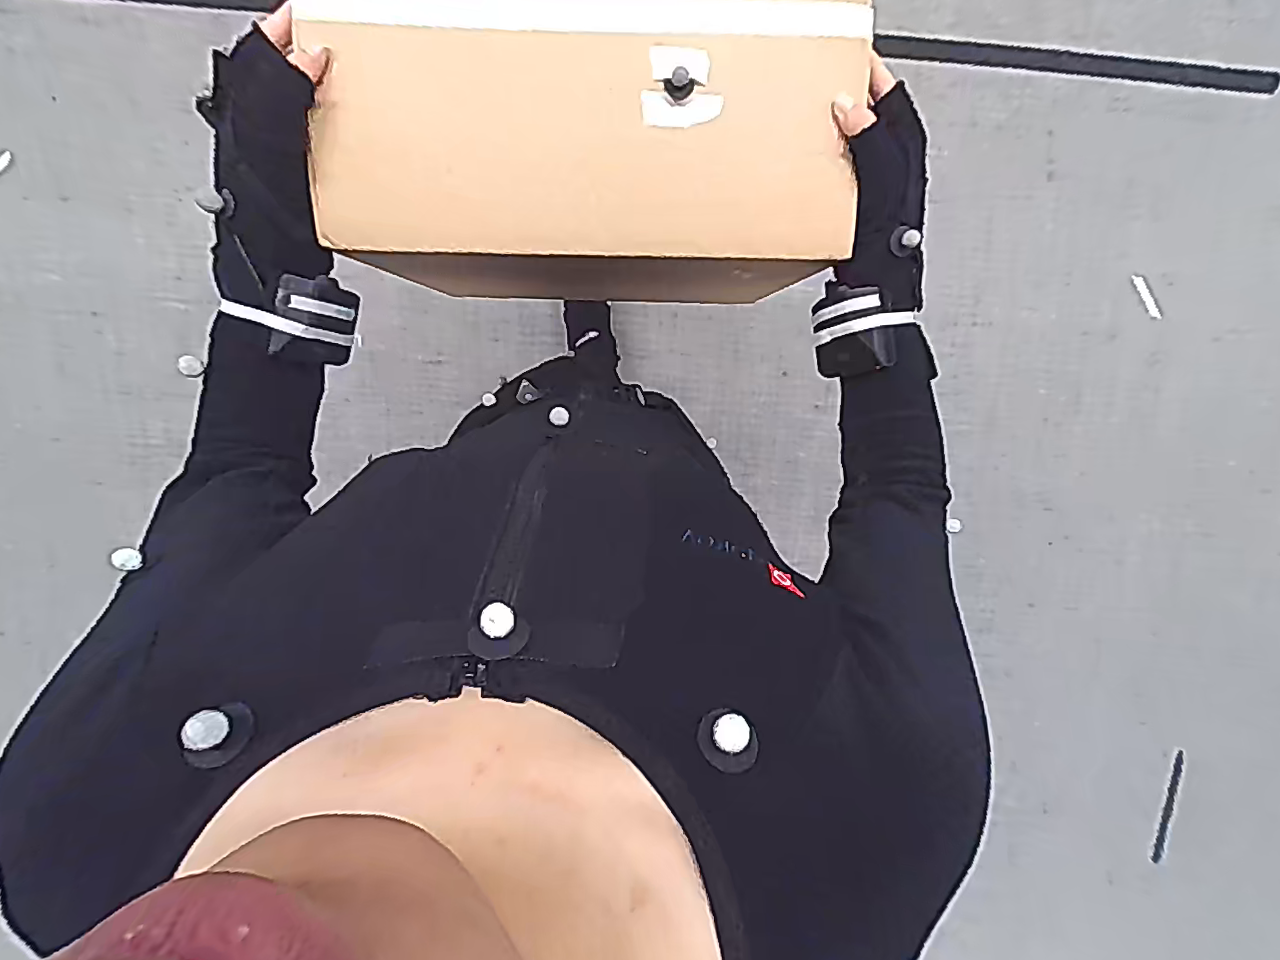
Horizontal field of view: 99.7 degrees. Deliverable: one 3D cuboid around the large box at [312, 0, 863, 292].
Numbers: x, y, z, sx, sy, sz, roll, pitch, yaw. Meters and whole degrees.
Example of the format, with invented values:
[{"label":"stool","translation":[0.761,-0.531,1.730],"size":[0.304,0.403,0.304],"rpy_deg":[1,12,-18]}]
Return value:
[{"label":"large box","translation":[-0.042,-0.370,0.534],"size":[0.408,0.320,0.320],"rpy_deg":[0,102,-2]}]
